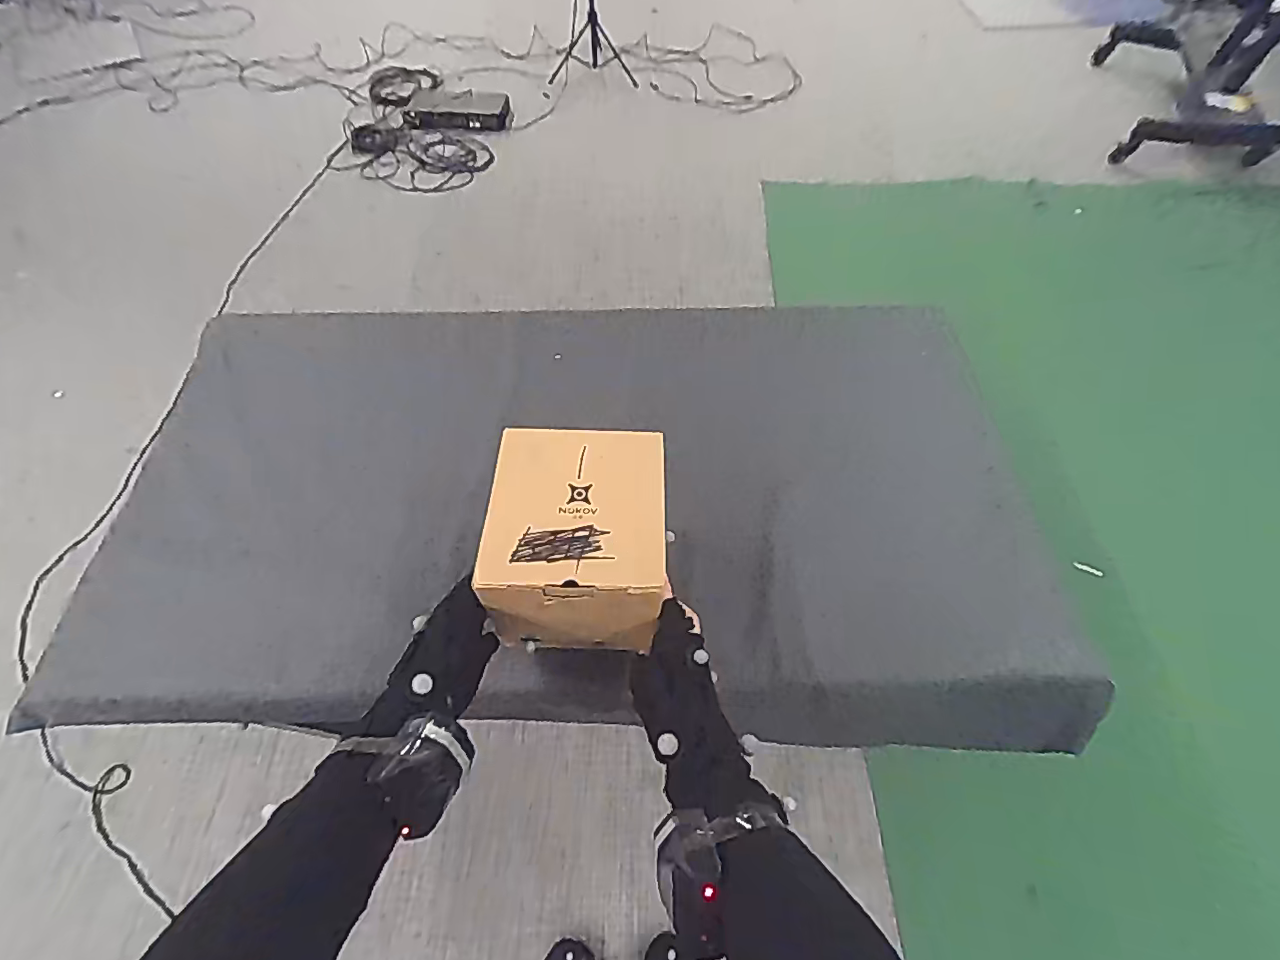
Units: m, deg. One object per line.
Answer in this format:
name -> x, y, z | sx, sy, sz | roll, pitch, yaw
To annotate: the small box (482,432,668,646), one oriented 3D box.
small box -> -0.057, 0.070, 0.585 | 0.168, 0.176, 0.179 | 3, 55, 0
